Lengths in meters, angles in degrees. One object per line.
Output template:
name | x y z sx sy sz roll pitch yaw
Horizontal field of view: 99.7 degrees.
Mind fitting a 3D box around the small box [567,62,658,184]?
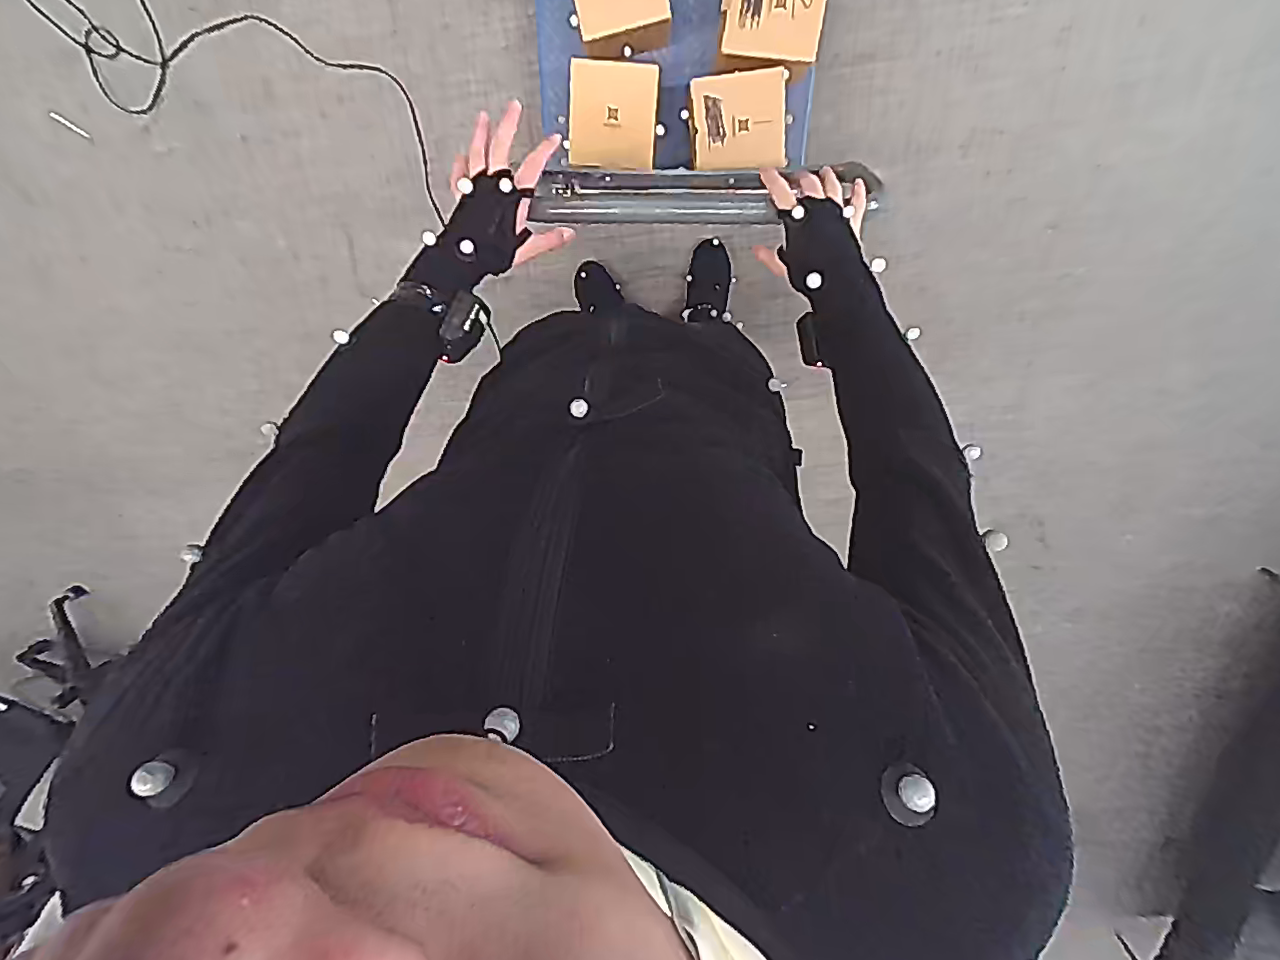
small box | -0.055 -0.717 1.103 0.168 0.176 0.179 4 115 -1

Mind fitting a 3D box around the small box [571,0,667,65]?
small box | -0.043 -0.911 1.012 0.168 0.176 0.179 -10 114 5
